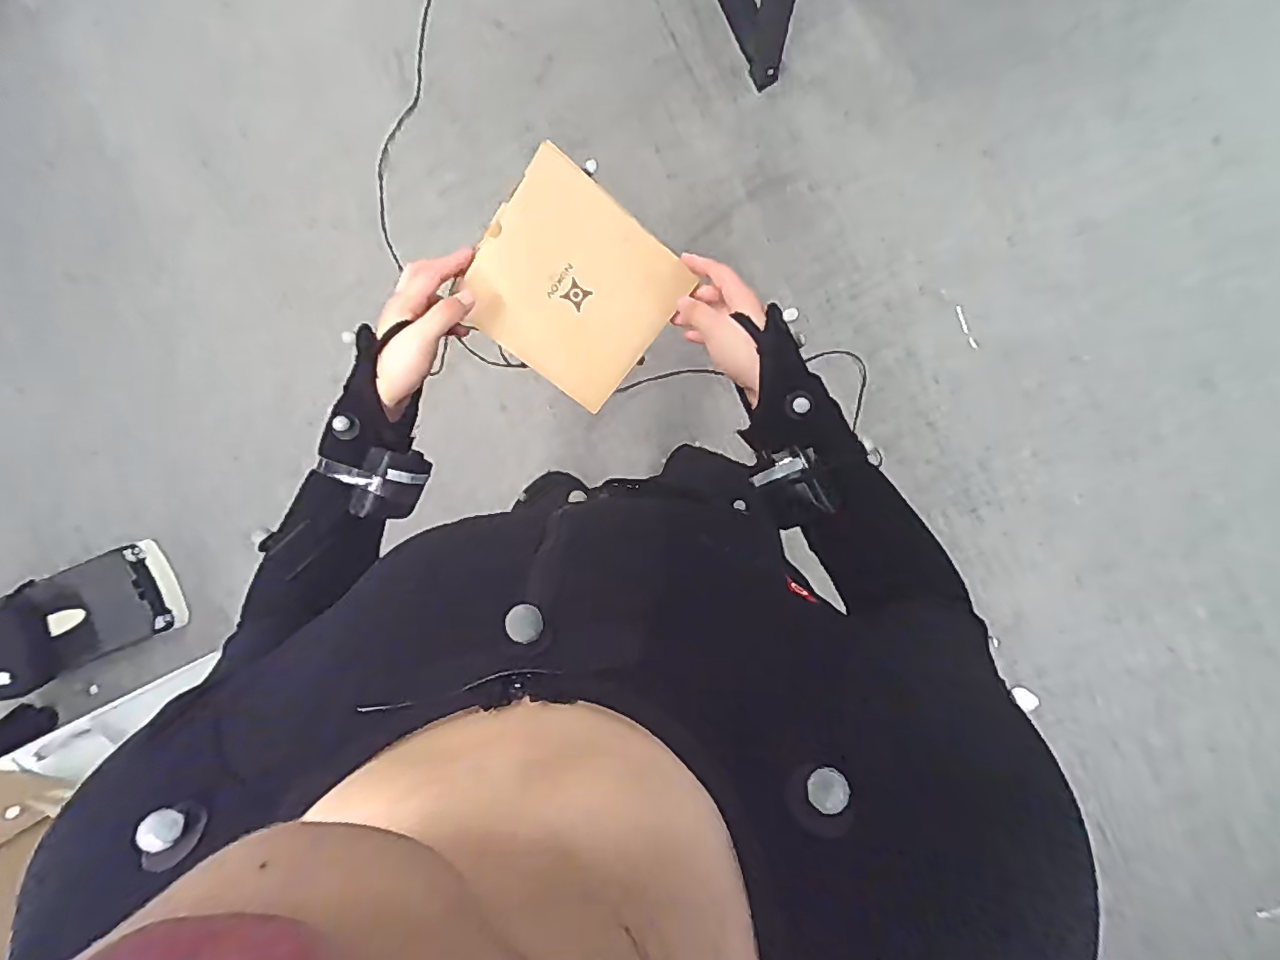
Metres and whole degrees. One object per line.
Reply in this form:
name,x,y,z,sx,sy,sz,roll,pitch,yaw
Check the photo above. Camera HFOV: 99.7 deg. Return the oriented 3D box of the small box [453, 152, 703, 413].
small box,-0.058,-0.204,0.569,0.179,0.176,0.168,36,108,-15
